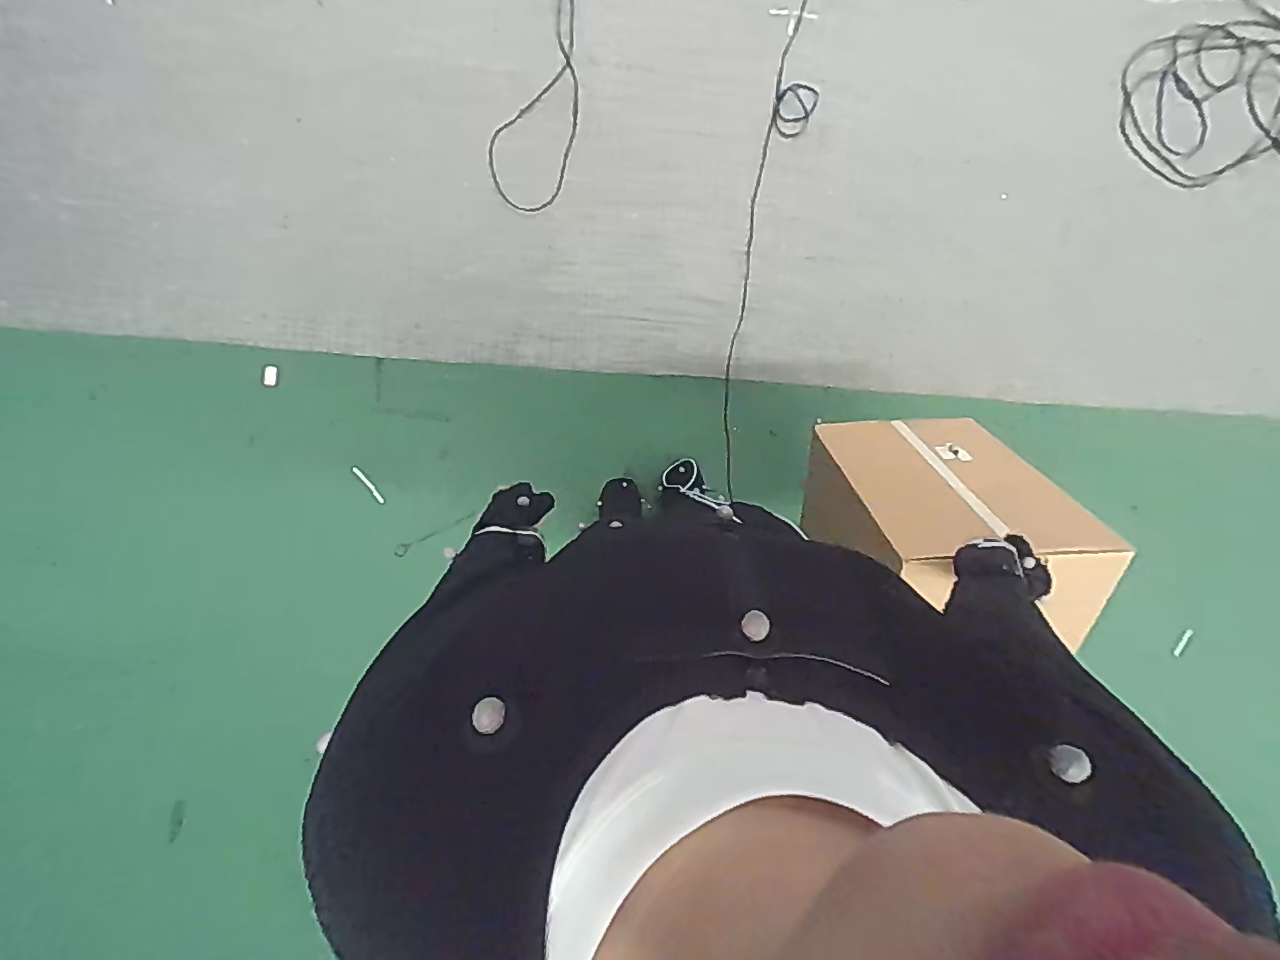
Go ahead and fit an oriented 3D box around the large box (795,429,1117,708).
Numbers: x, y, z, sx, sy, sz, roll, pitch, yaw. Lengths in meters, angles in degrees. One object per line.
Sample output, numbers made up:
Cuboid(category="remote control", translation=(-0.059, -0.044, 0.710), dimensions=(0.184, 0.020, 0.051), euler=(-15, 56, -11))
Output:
Cuboid(category="large box", translation=(0.497, 0.138, 0.973), dimensions=(0.320, 0.408, 0.320), euler=(-1, 121, -1))
